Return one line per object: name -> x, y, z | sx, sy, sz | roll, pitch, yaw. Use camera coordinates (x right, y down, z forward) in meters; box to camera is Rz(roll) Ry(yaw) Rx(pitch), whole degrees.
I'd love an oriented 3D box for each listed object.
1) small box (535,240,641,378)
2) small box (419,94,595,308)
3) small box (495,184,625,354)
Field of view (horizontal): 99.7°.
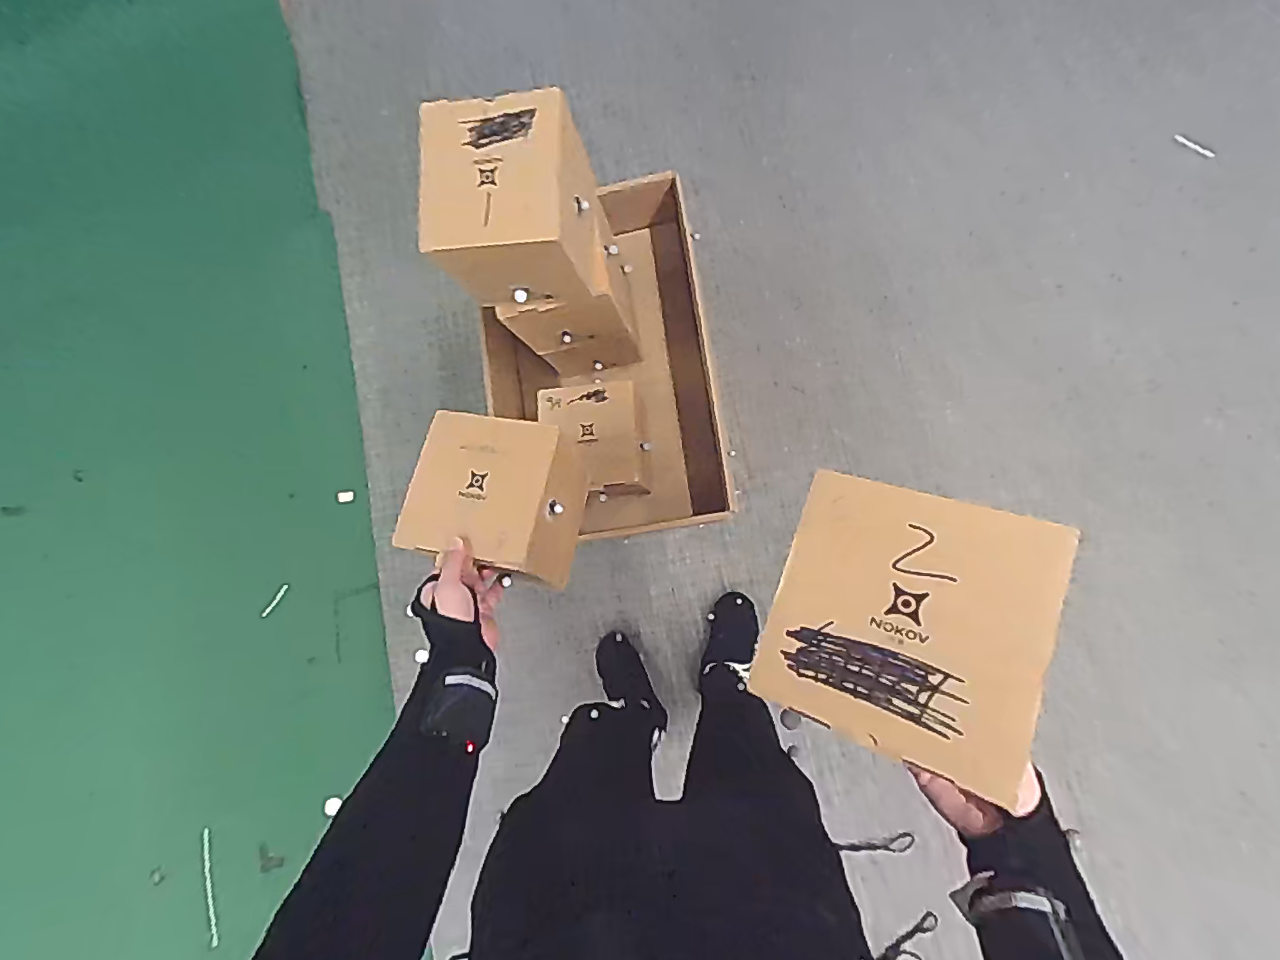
small box -> -0.100, -0.307, 1.004 | 0.168, 0.176, 0.179 | -10, 84, 9
small box -> -0.157, -0.336, 0.684 | 0.168, 0.176, 0.179 | -1, 86, 9
small box -> -0.127, -0.318, 0.844 | 0.168, 0.176, 0.179 | -10, 84, 7
